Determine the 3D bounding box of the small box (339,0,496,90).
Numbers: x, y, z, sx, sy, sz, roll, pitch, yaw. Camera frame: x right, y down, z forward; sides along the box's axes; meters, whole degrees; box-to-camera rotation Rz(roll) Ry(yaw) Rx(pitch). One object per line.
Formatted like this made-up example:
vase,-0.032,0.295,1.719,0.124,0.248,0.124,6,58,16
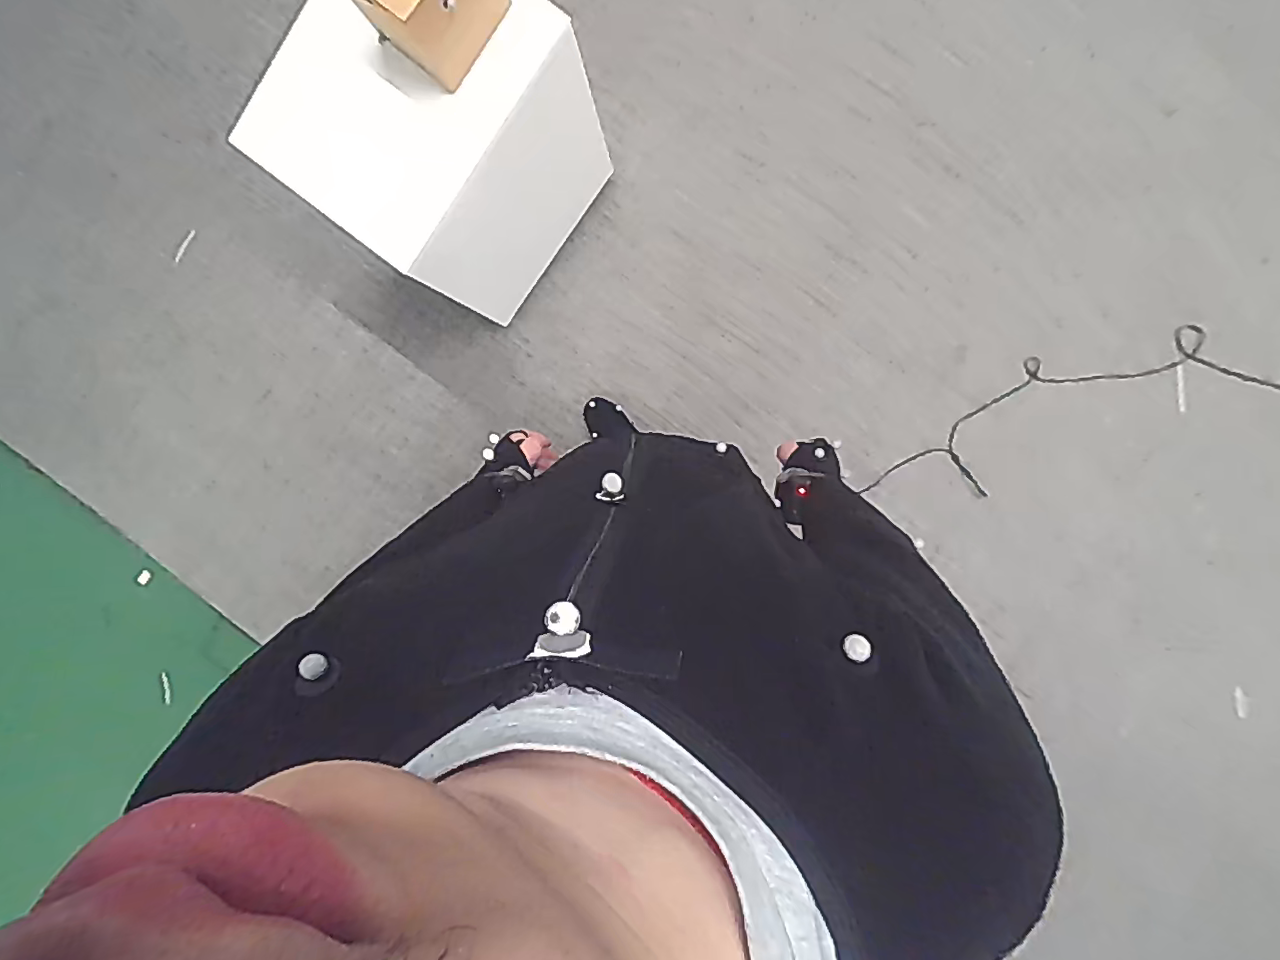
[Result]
small box,-0.342,-0.741,0.804,0.168,0.176,0.179,37,95,-1
